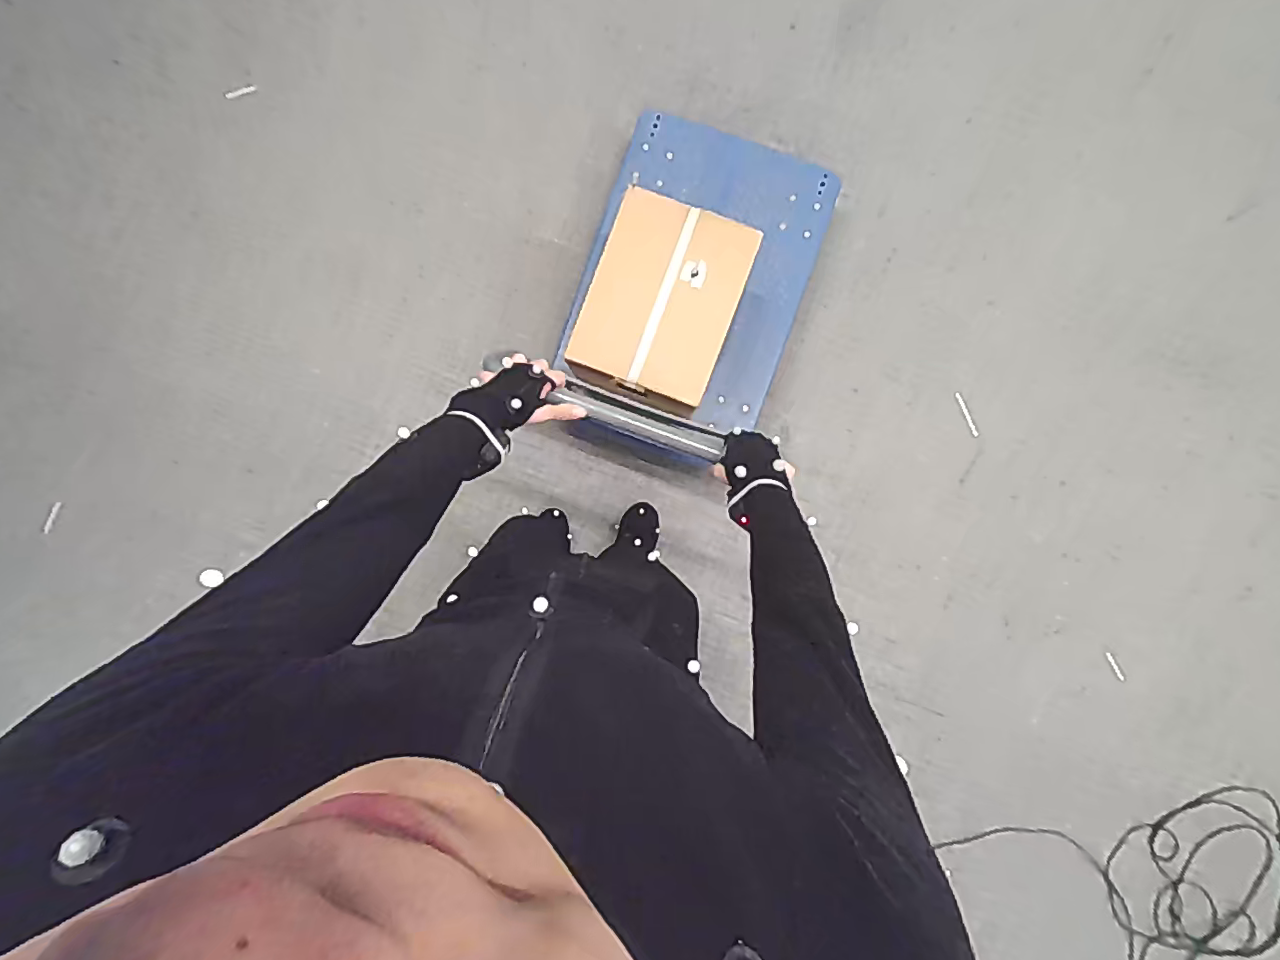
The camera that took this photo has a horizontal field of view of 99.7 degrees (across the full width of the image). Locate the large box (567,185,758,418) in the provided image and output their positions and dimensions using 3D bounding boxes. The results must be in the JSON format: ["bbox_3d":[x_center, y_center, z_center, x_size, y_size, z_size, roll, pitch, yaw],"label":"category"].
[{"bbox_3d":[0.050,-0.400,1.311,0.320,0.320,0.408,20,89,0],"label":"large box"}]
